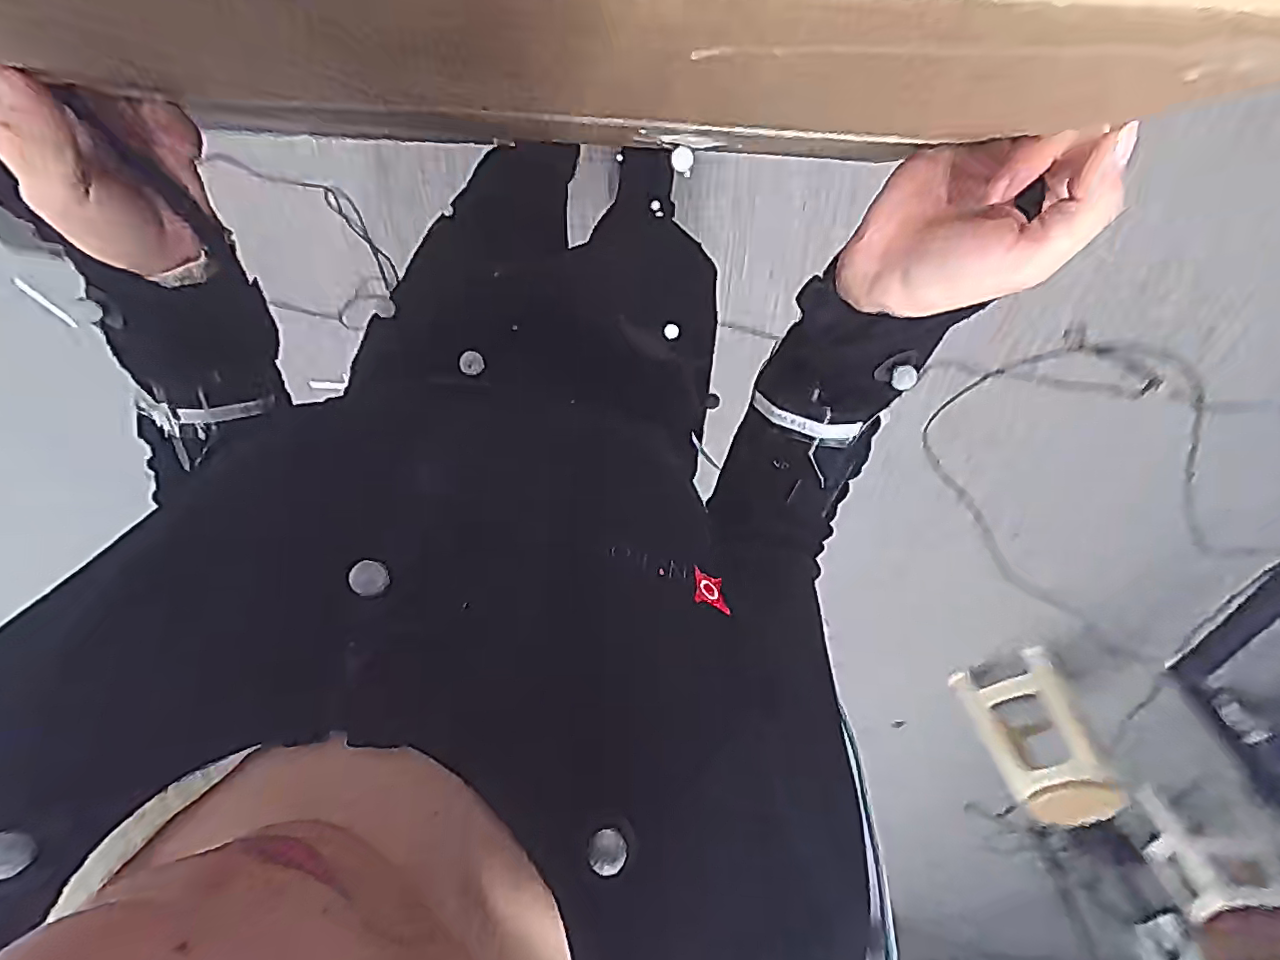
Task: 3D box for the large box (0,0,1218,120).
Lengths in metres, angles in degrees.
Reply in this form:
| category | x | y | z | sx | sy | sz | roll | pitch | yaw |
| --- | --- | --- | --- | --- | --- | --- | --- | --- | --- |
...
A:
| category | x | y | z | sx | sy | sz | roll | pitch | yaw |
| --- | --- | --- | --- | --- | --- | --- | --- | --- | --- |
| large box | -0.050 | -0.303 | 0.152 | 0.408 | 0.320 | 0.320 | 2 | 119 | 2 |
